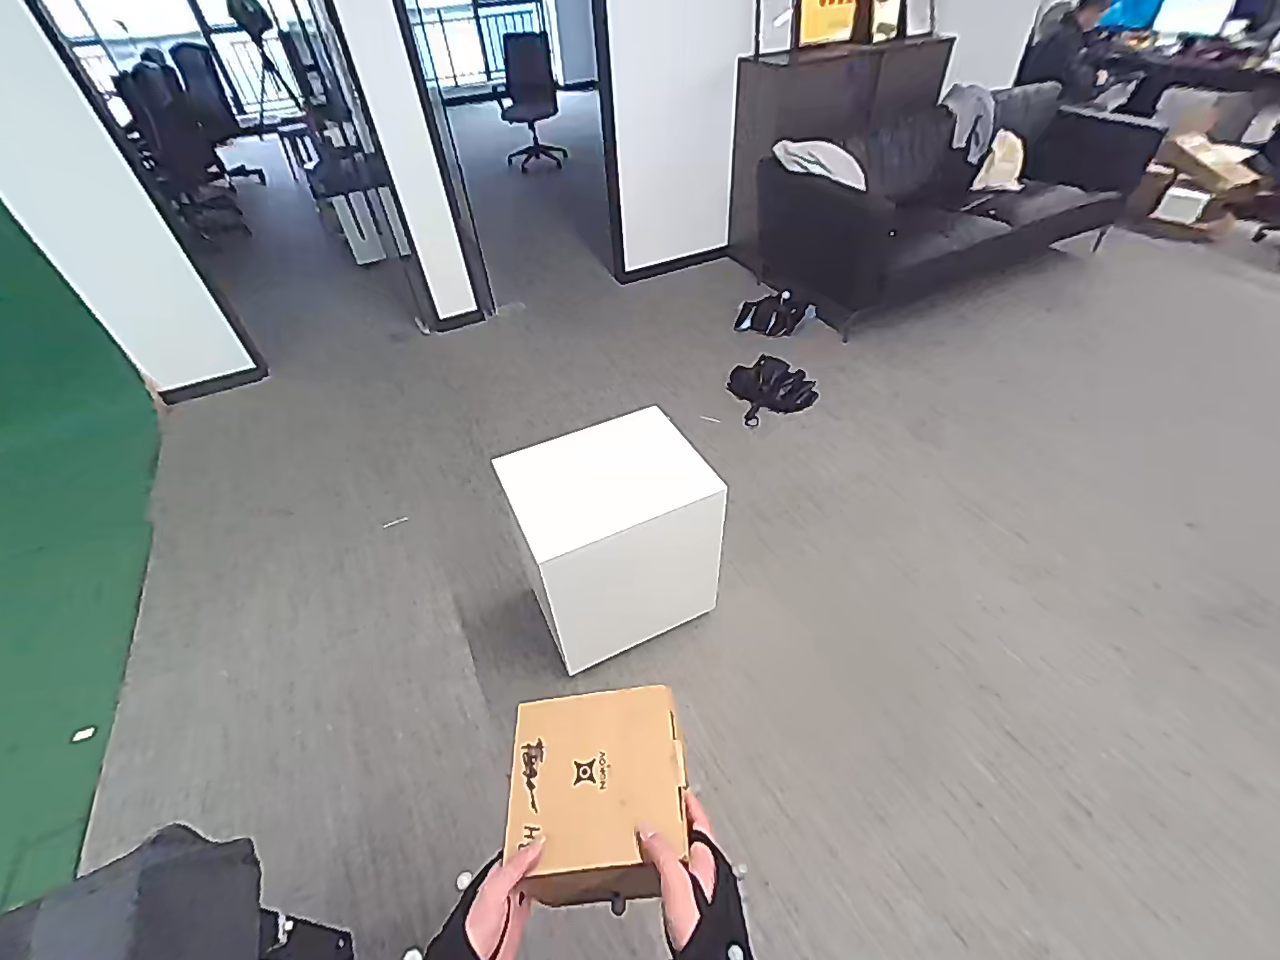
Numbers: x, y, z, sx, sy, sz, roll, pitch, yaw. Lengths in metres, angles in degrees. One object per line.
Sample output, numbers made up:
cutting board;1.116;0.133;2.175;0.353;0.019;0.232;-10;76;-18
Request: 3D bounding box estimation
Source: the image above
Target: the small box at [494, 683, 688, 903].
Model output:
small box;-0.042;0.349;0.600;0.179;0.176;0.168;-8;43;3
